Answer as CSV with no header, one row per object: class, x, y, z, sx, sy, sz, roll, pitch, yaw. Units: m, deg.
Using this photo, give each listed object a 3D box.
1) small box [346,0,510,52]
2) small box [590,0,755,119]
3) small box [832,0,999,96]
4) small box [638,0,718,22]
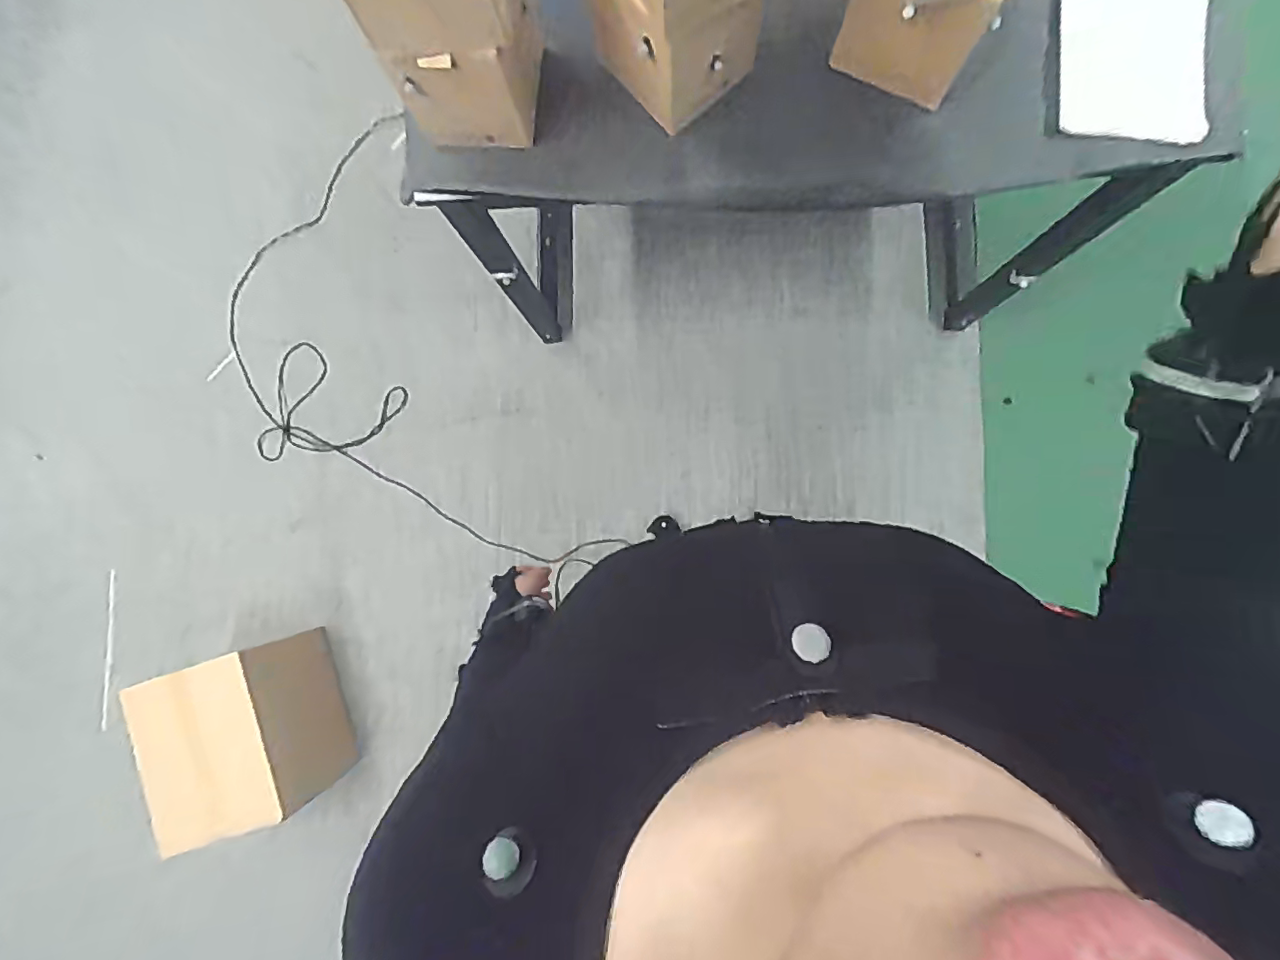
small box,-0.258,-0.626,0.605,0.179,0.176,0.168,-4,84,4
small box,0.047,-0.649,0.748,0.168,0.176,0.179,-41,84,0
small box,0.389,-0.666,0.723,0.179,0.176,0.168,29,88,7
small box,0.052,-0.655,0.585,0.168,0.176,0.179,-29,83,1
